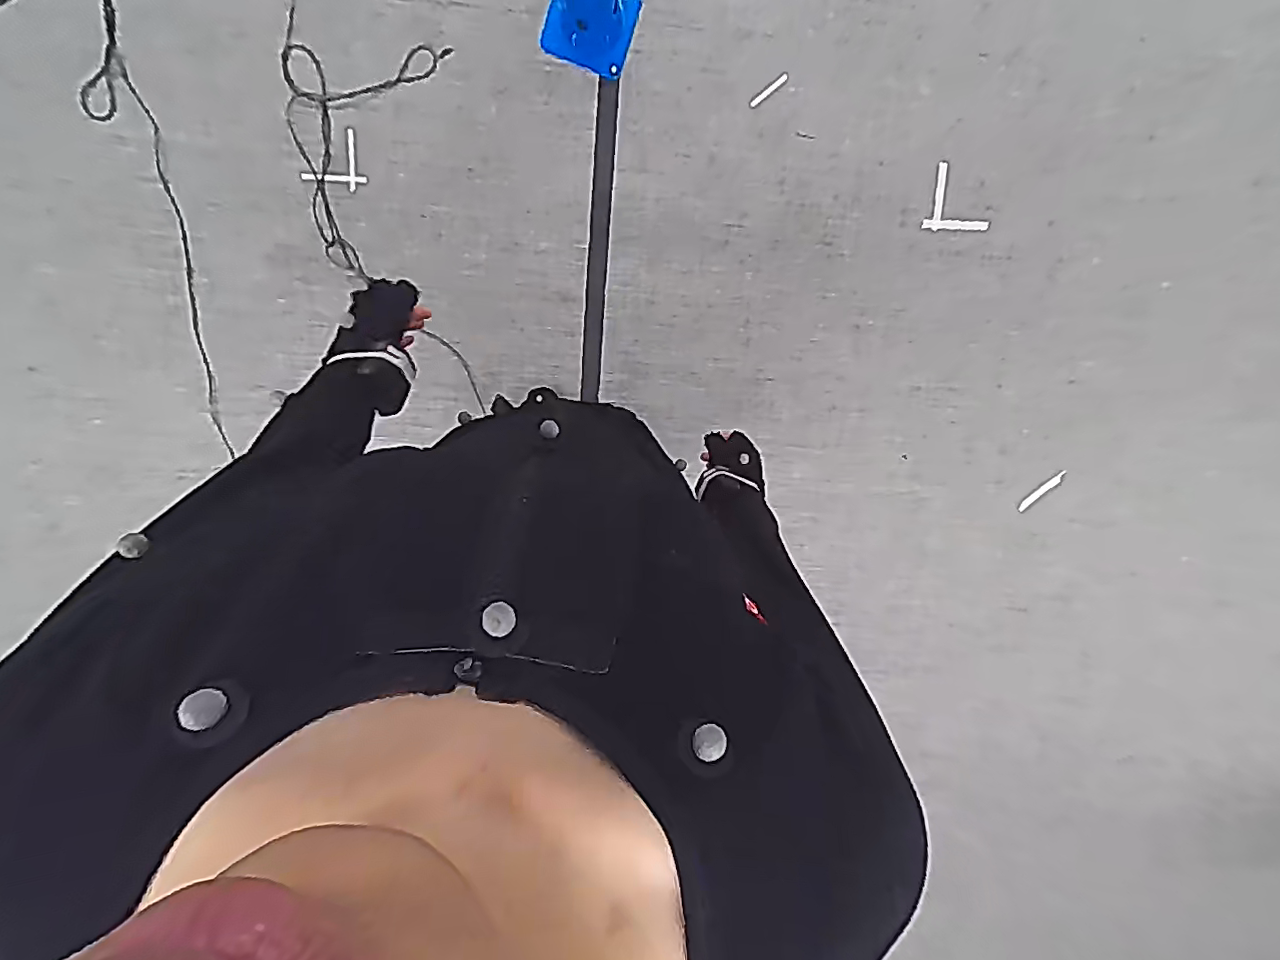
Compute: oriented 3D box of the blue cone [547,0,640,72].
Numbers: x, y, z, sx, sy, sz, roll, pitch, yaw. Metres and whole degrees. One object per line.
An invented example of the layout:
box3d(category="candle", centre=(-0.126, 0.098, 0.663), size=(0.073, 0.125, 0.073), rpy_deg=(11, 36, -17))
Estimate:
box3d(category="blue cone", centre=(-0.099, -1.042, 1.096), size=(0.192, 0.380, 0.193), rpy_deg=(19, 100, -8))
